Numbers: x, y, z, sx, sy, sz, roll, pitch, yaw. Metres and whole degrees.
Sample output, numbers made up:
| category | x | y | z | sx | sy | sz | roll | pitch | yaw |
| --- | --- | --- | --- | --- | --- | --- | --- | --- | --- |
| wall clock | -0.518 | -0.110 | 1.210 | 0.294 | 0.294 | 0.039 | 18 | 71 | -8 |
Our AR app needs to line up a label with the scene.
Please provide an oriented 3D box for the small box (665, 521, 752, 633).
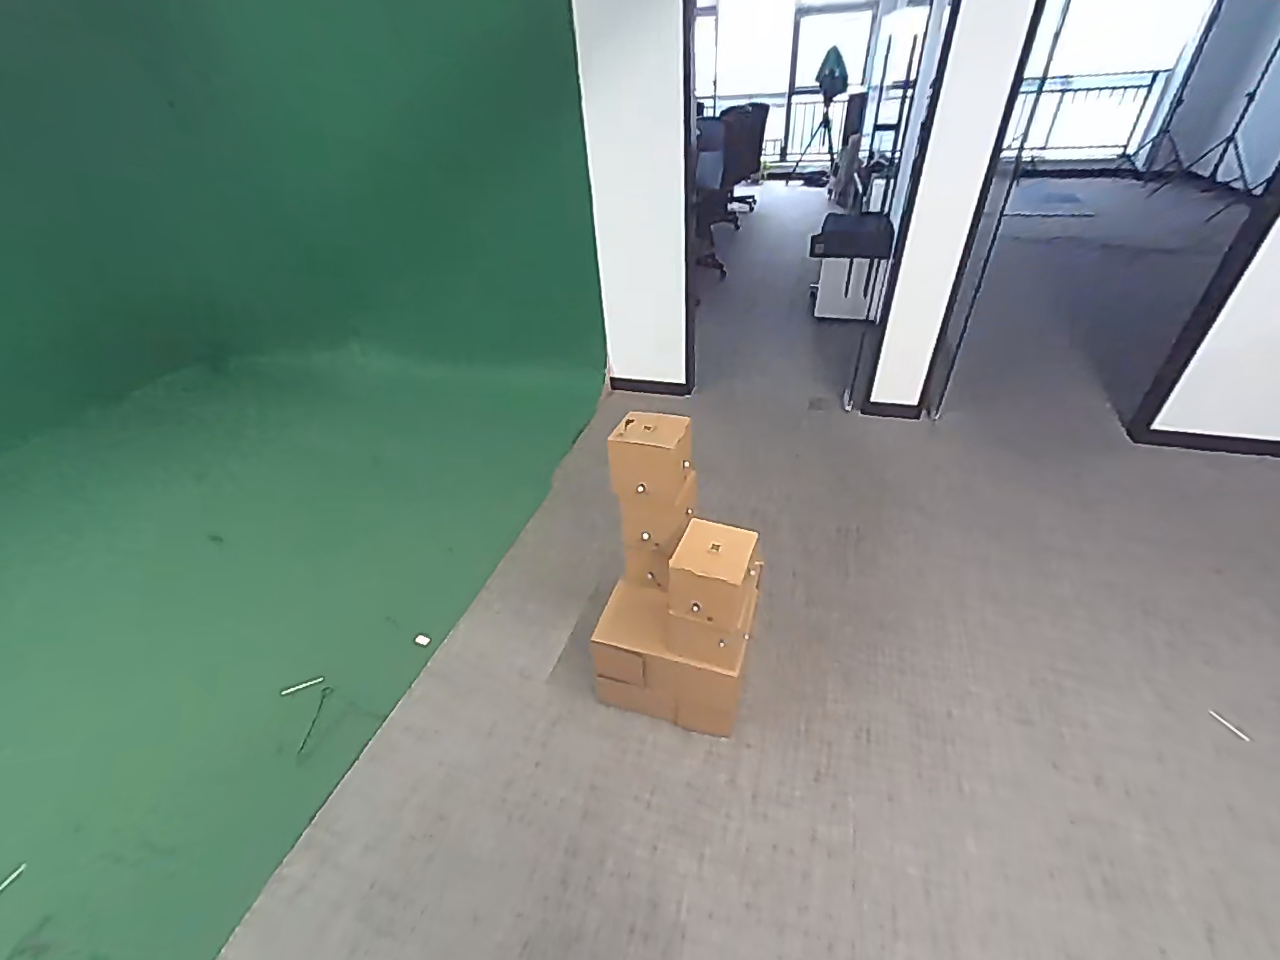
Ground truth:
| category | x | y | z | sx | sy | sz | roll | pitch | yaw |
| --- | --- | --- | --- | --- | --- | --- | --- | --- | --- |
| small box | 0.162 | 0.231 | 1.293 | 0.168 | 0.176 | 0.179 | 12 | 38 | 18 |

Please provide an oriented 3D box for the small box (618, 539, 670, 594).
| category | x | y | z | sx | sy | sz | roll | pitch | yaw |
| --- | --- | --- | --- | --- | --- | --- | --- | --- | --- |
| small box | 0.043 | 0.210 | 1.613 | 0.168 | 0.176 | 0.179 | 8 | 35 | 17 |

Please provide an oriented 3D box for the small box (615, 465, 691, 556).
| category | x | y | z | sx | sy | sz | roll | pitch | yaw |
| --- | --- | --- | --- | --- | --- | --- | --- | --- | --- |
| small box | 0.039 | 0.082 | 1.508 | 0.168 | 0.176 | 0.179 | 10 | 36 | 18 |
